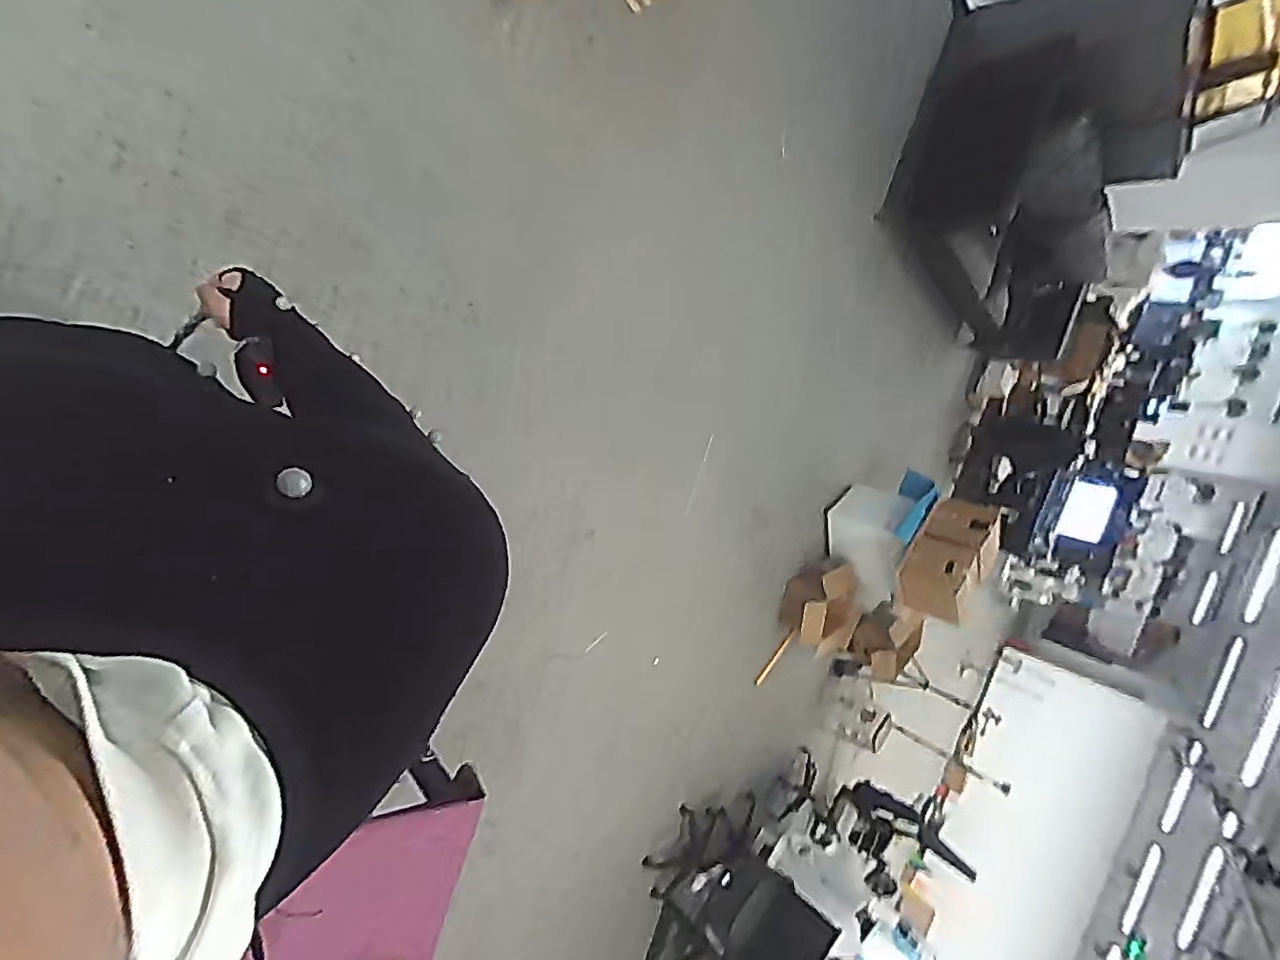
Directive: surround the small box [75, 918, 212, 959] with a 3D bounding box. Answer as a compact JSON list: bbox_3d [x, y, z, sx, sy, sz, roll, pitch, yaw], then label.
[{"bbox_3d":[-0.739,0.804,0.782,0.168,0.176,0.179,17,94,-48],"label":"small box"}]
